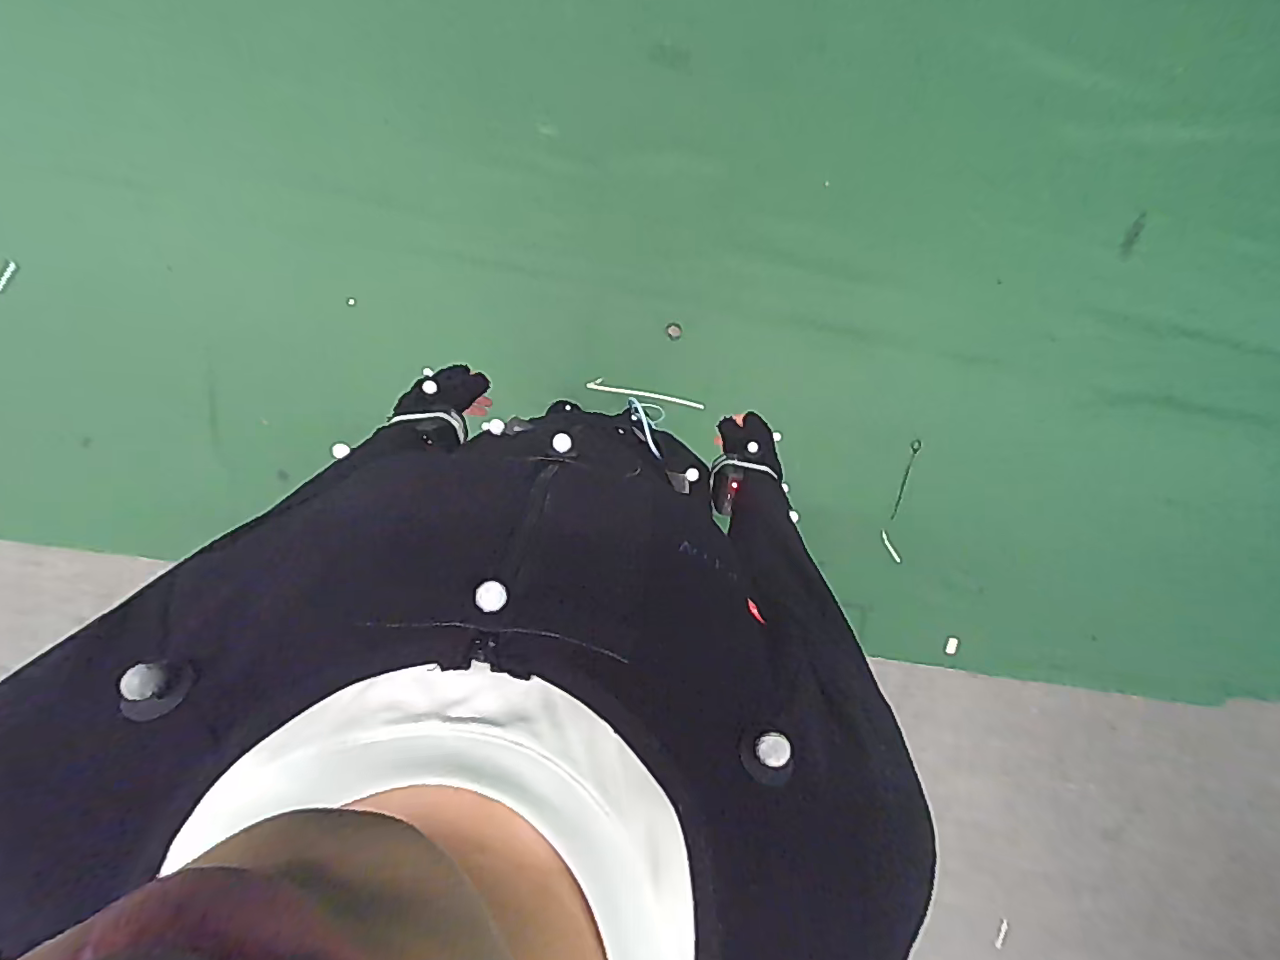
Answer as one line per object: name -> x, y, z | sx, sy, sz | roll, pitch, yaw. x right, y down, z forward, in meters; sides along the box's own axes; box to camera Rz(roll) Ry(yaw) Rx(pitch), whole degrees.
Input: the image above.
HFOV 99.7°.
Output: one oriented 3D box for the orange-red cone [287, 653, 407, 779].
orange-red cone -> -0.764, 0.621, 1.367 | 0.198, 0.360, 0.199 | 10, 99, -3
